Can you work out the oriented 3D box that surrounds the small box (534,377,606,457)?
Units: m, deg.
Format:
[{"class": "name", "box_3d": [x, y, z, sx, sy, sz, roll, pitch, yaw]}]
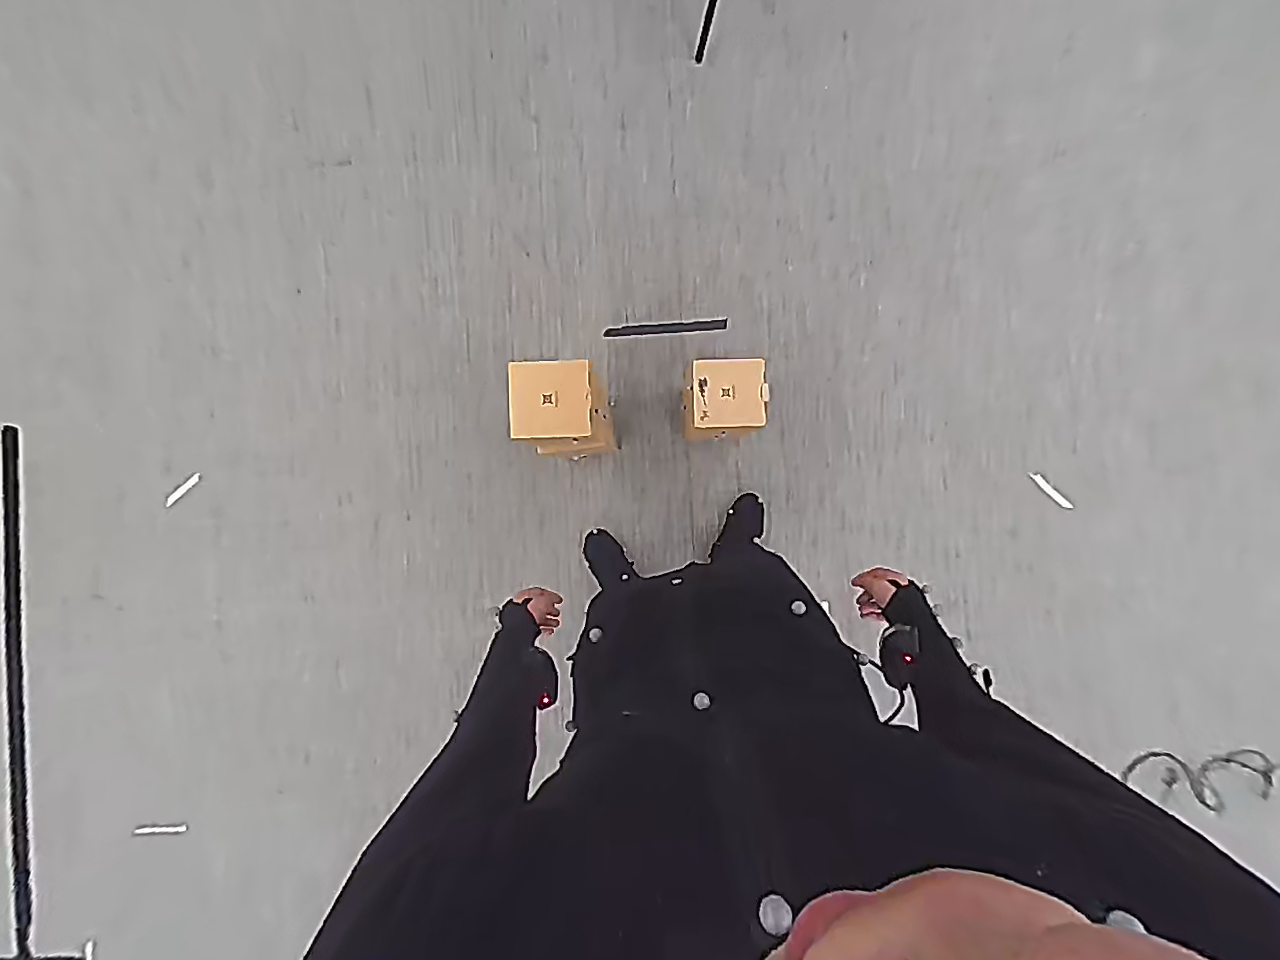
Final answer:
[{"class": "small box", "box_3d": [-0.182, -0.158, 1.386, 0.168, 0.176, 0.179, -7, 90, 1]}]

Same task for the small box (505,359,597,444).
[{"class": "small box", "box_3d": [-0.195, -0.171, 1.223, 0.179, 0.176, 0.168, -2, 89, 1]}]

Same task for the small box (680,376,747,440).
[{"class": "small box", "box_3d": [0.205, -0.204, 1.548, 0.179, 0.176, 0.168, -2, 90, -1]}]

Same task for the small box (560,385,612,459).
[{"class": "small box", "box_3d": [-0.174, -0.161, 1.549, 0.168, 0.176, 0.179, -9, 89, 0]}]

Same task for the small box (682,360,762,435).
[{"class": "small box", "box_3d": [0.205, -0.208, 1.384, 0.179, 0.176, 0.168, -1, 89, -1]}]
